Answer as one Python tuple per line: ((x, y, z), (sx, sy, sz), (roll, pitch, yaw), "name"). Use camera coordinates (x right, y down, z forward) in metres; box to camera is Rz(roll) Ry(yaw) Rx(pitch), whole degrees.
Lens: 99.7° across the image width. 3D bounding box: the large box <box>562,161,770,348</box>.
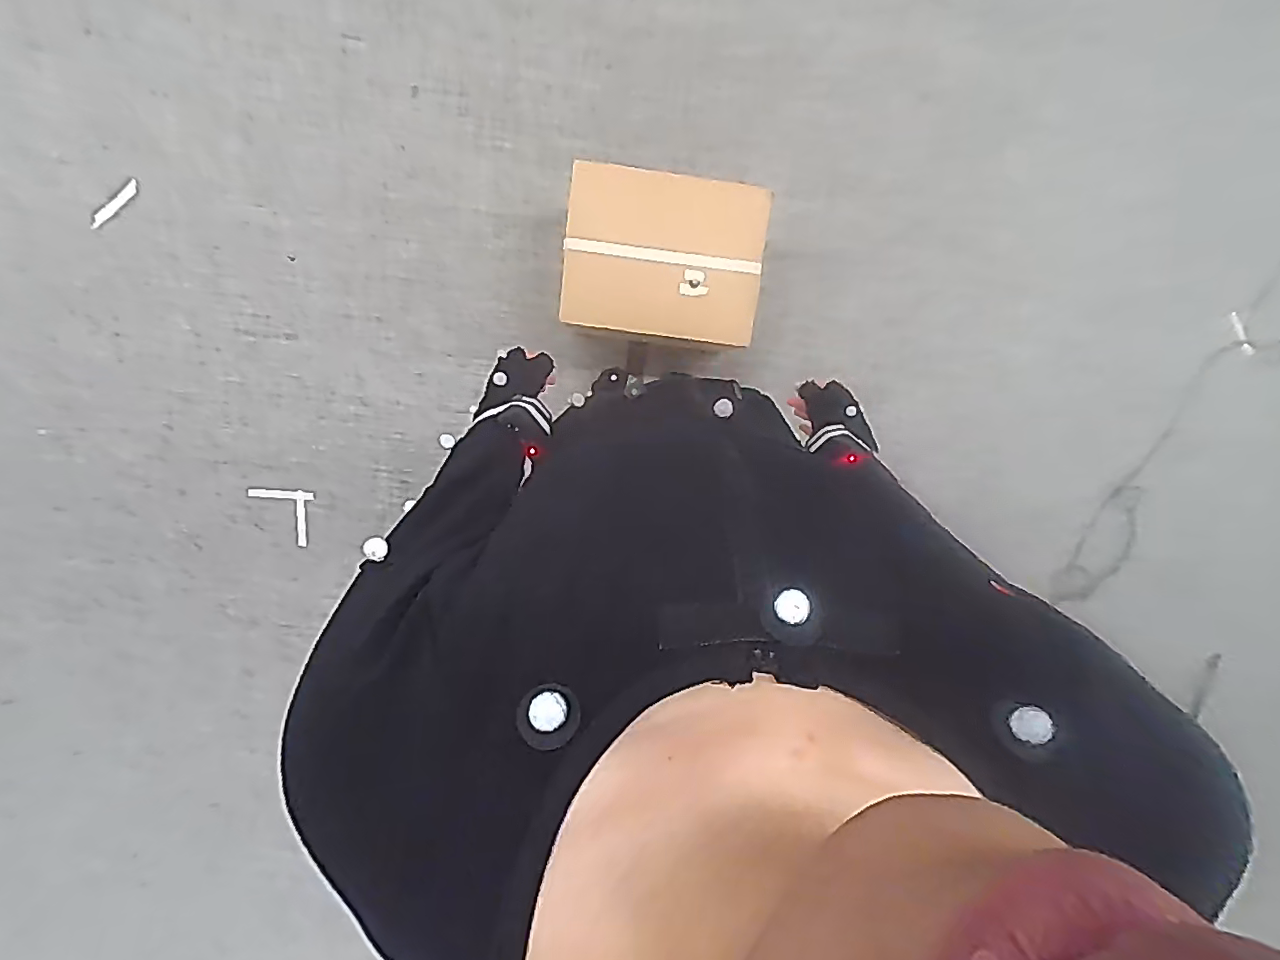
((0.042, -0.487, 1.243), (0.408, 0.320, 0.320), (6, 102, -4), "large box")
